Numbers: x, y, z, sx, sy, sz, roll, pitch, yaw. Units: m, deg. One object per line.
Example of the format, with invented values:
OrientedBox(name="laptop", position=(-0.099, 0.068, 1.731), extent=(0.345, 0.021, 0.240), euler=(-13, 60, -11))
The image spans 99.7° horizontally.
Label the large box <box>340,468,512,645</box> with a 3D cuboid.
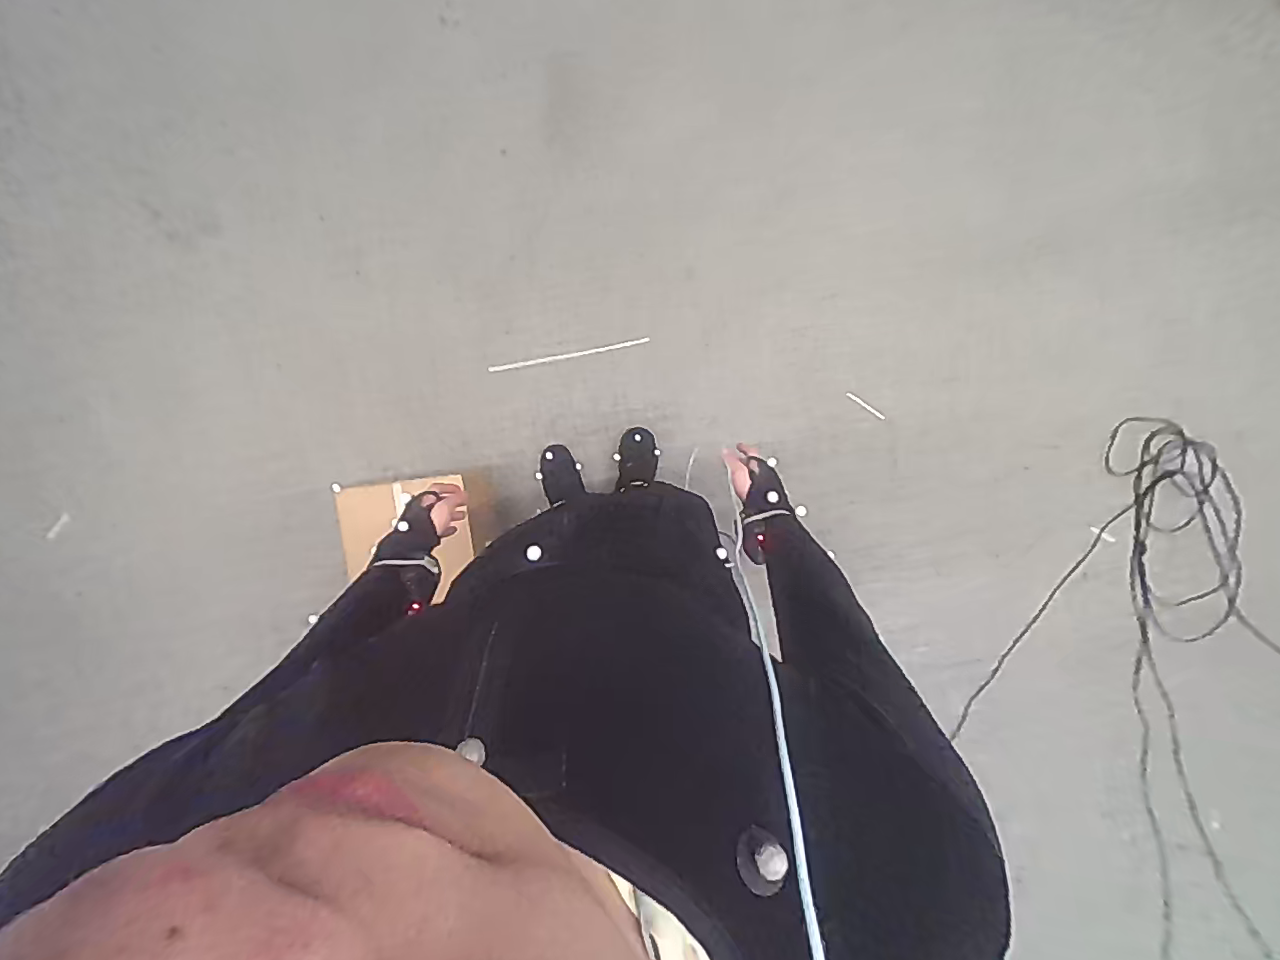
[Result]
OrientedBox(name="large box", position=(-0.564, 0.192, 1.497), extent=(0.320, 0.320, 0.408), euler=(-8, 95, -2))
